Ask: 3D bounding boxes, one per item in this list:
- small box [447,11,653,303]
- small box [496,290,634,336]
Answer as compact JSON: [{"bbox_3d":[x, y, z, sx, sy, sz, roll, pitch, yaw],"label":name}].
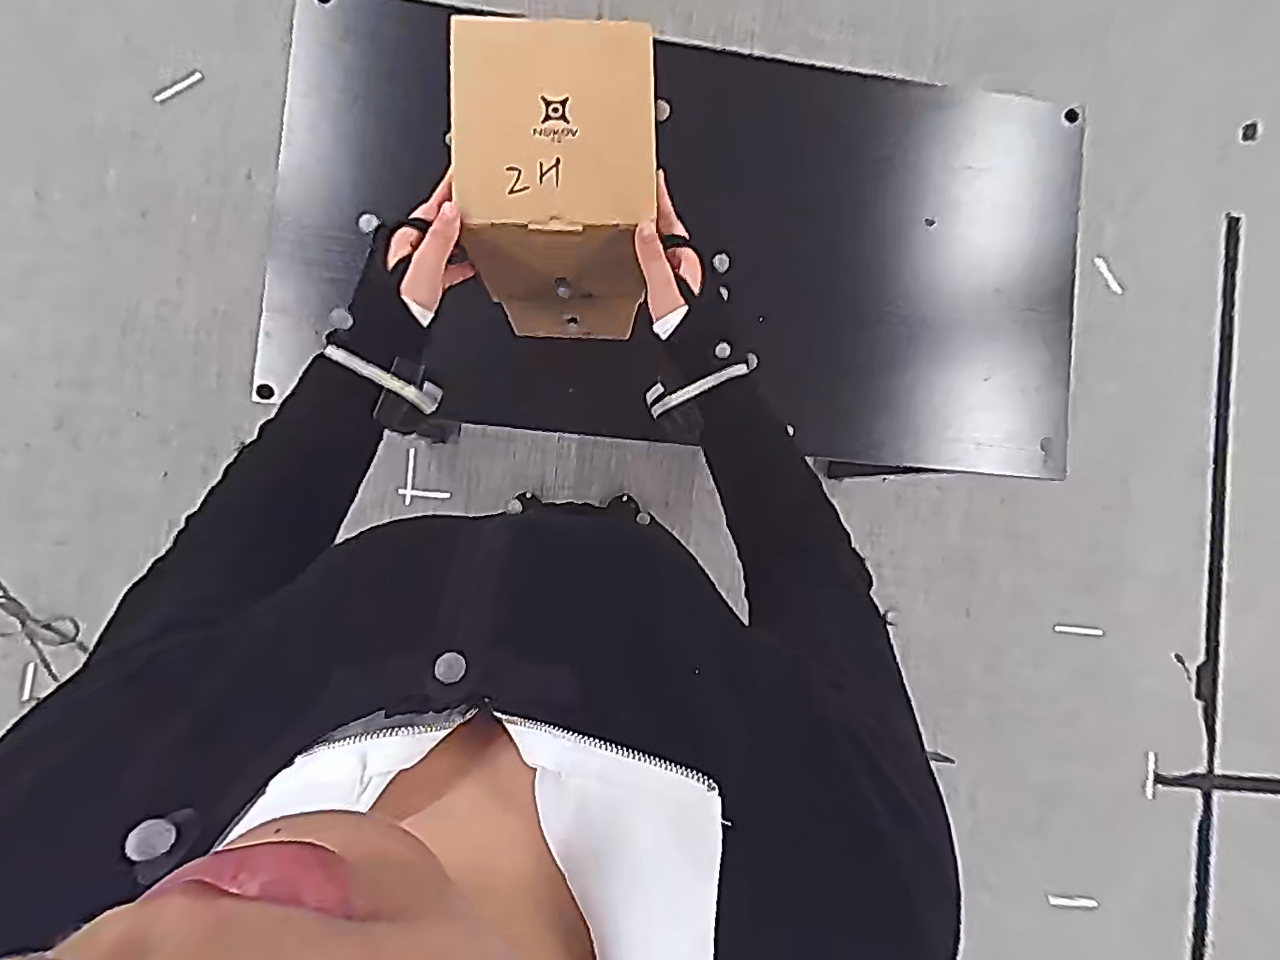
[{"bbox_3d":[-0.077,-0.288,0.517,0.168,0.176,0.179,-1,87,-3],"label":"small box"},{"bbox_3d":[-0.090,-0.297,0.713,0.168,0.176,0.179,1,88,-5],"label":"small box"}]
